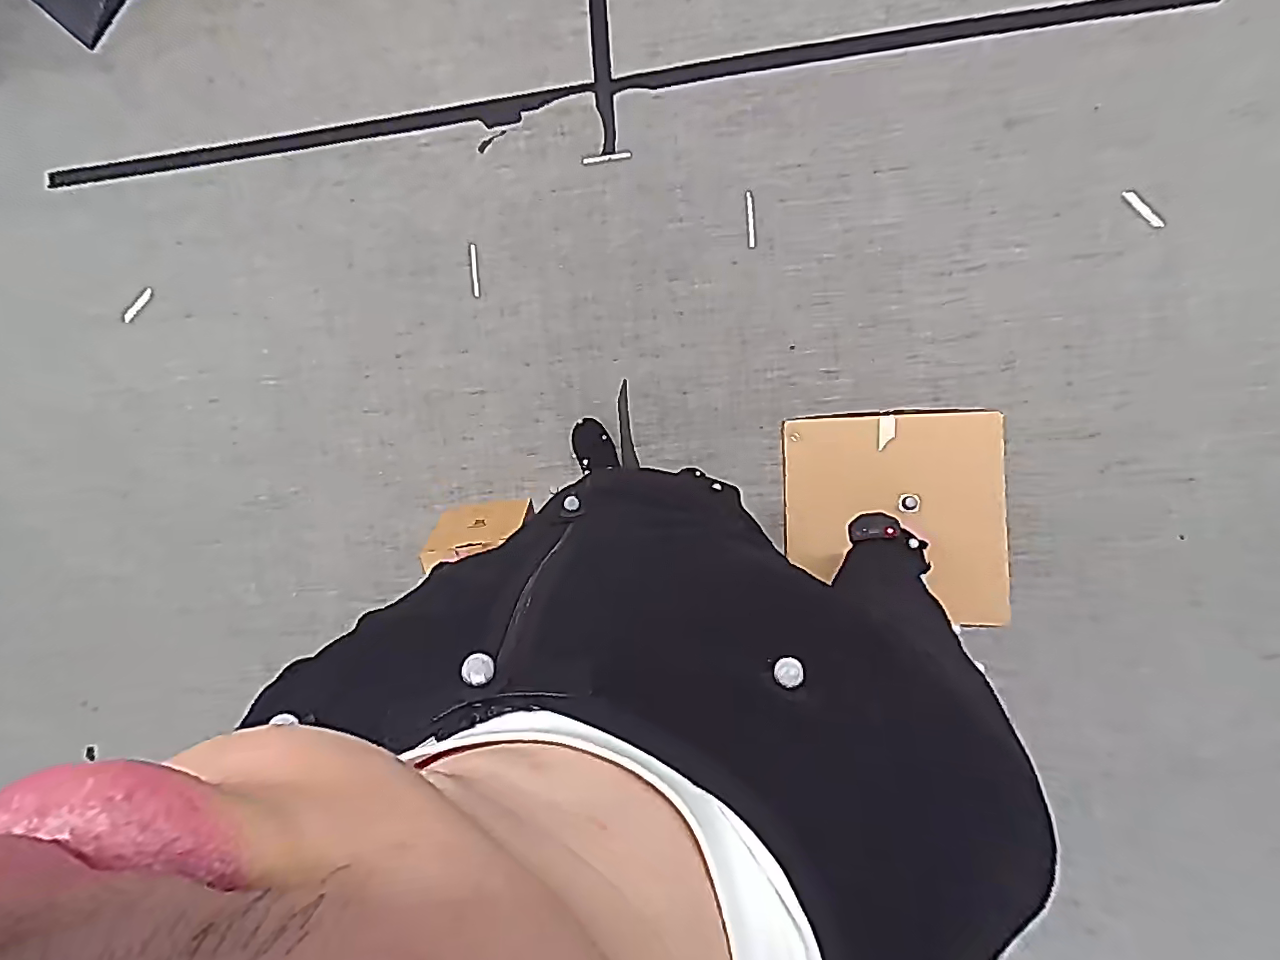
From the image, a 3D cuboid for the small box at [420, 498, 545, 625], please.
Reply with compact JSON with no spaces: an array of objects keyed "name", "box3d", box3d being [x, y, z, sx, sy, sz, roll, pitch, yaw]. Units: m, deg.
[{"name":"small box","box3d":[-0.278,0.153,0.999,0.168,0.179,0.176,-9,110,0]}]
